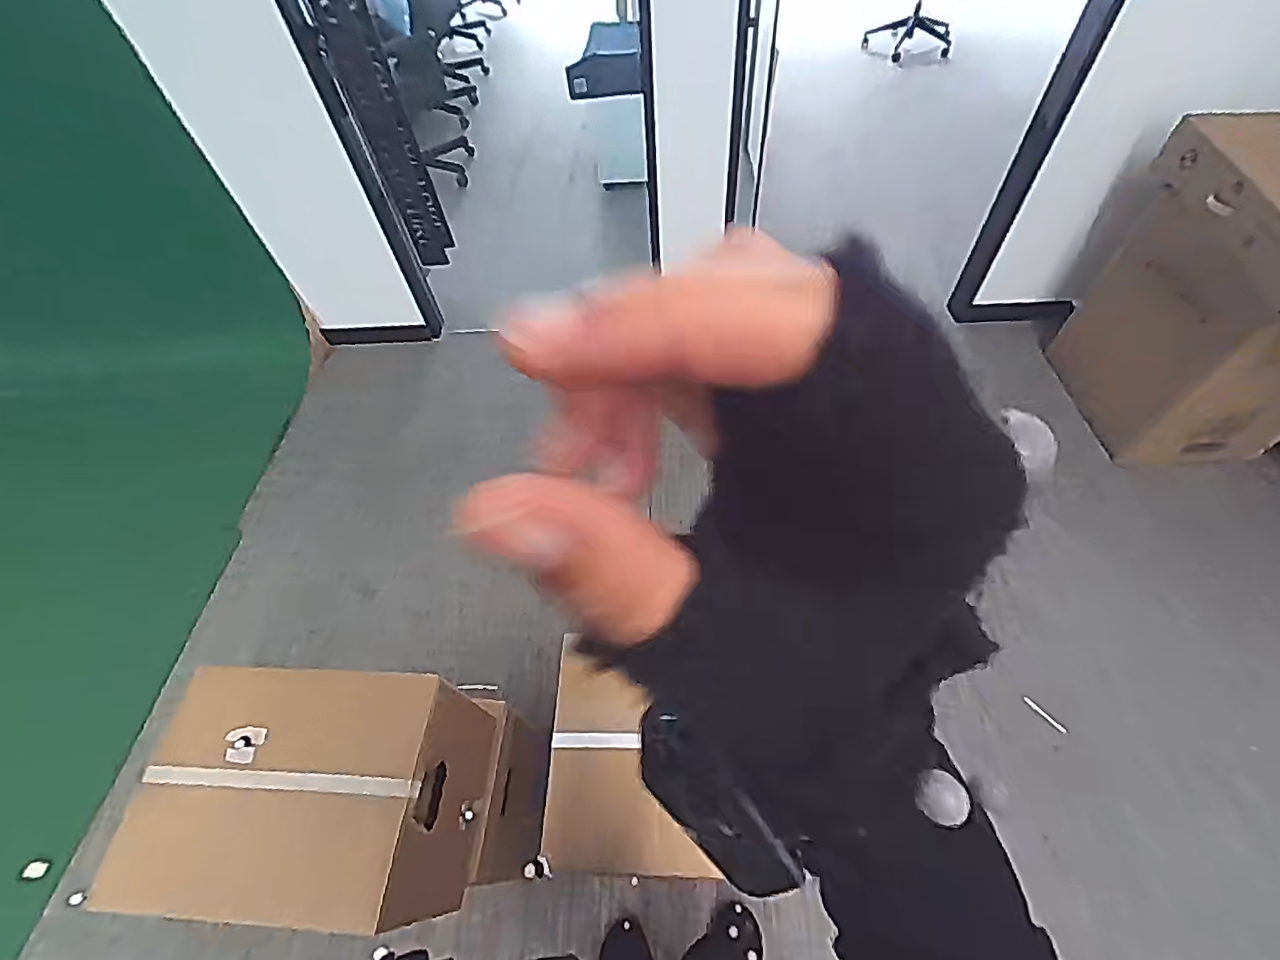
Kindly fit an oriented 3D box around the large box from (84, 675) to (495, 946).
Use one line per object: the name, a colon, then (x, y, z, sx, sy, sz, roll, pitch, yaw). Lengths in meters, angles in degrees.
large box: (-0.496, 0.517, 0.878, 0.408, 0.320, 0.320, 0, 56, 7)
